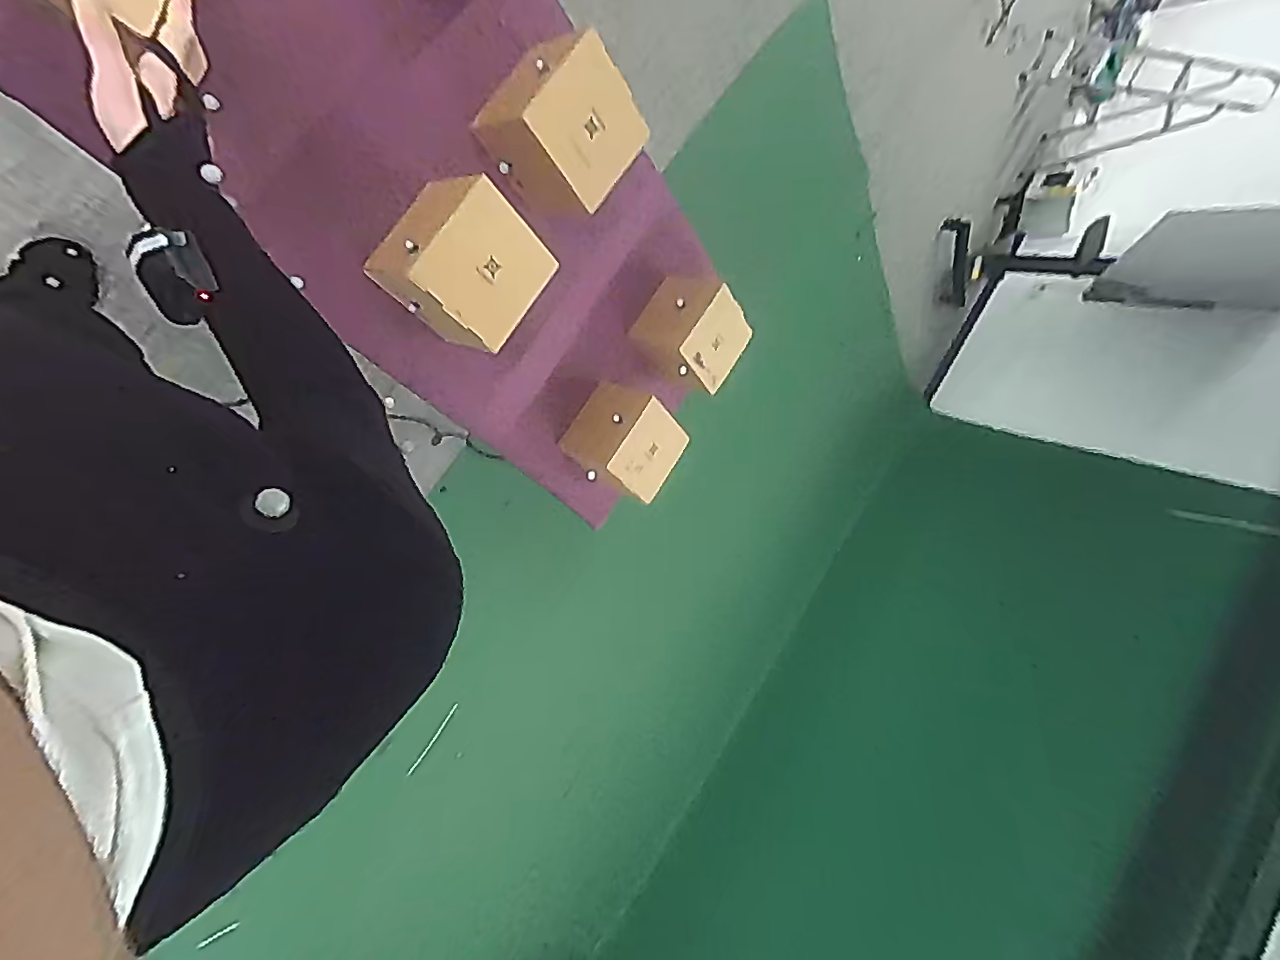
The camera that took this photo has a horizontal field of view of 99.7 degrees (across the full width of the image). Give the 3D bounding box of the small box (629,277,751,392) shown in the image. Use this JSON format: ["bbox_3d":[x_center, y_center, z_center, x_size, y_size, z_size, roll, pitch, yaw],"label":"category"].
[{"bbox_3d":[0.107,-0.325,1.189,0.179,0.176,0.168,-57,137,-8],"label":"small box"}]

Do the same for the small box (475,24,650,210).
[{"bbox_3d":[-0.122,-0.554,0.846,0.179,0.176,0.168,-55,137,-8],"label":"small box"}]

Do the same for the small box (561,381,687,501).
[{"bbox_3d":[-0.037,-0.089,1.156,0.179,0.176,0.168,-56,136,-10],"label":"small box"}]

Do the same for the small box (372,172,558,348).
[{"bbox_3d":[-0.265,-0.330,0.813,0.179,0.176,0.168,-57,139,-8],"label":"small box"}]
